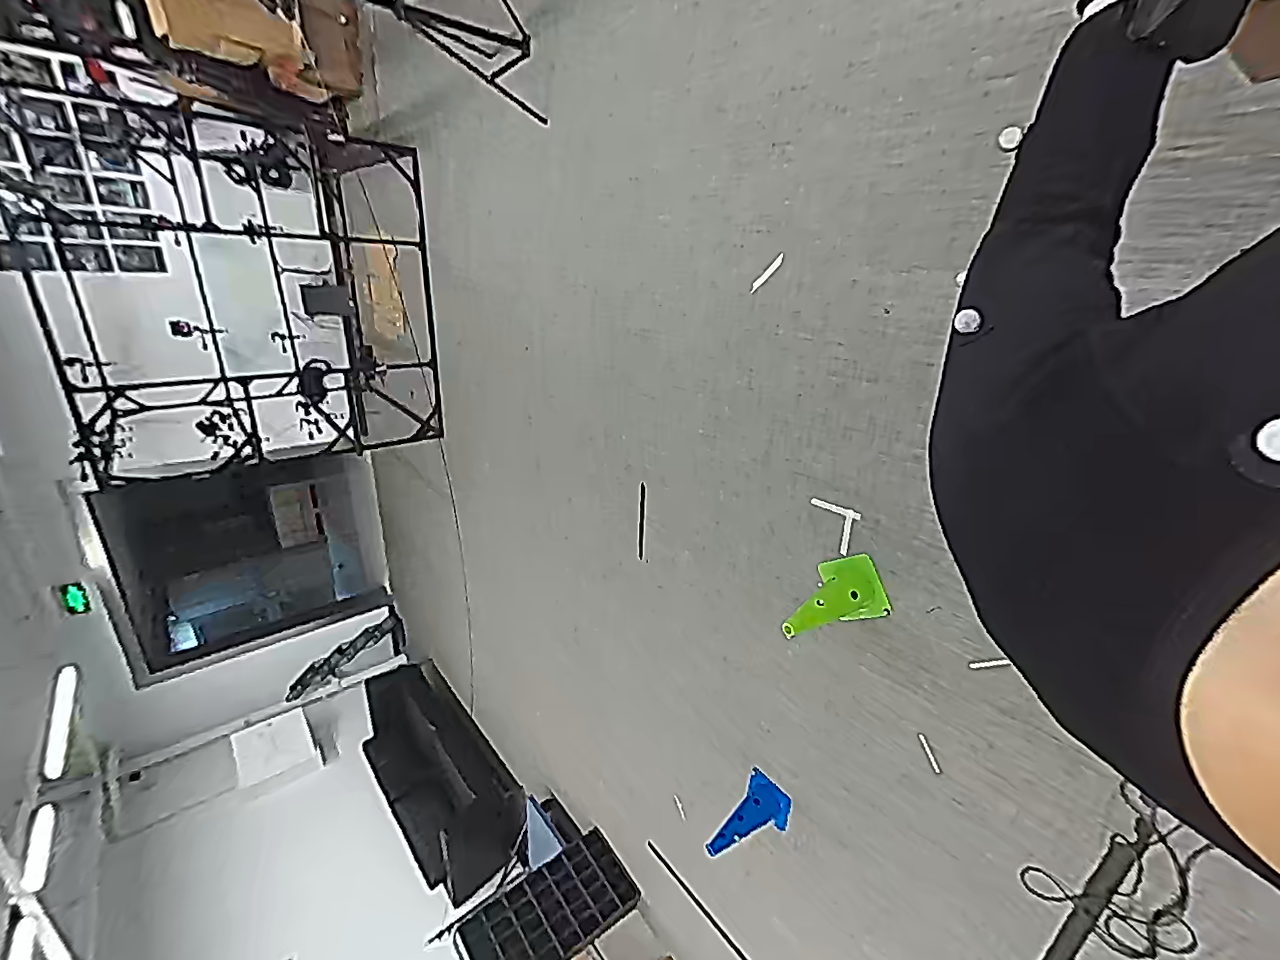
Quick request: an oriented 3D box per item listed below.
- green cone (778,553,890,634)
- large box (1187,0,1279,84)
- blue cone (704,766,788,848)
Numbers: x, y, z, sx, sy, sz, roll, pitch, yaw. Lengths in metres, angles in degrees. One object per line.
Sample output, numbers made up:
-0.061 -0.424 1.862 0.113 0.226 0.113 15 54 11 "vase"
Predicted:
0.548 0.374 1.630 0.202 0.368 0.200 -31 77 53 "green cone"
0.594 -0.457 0.257 0.408 0.320 0.320 18 120 48 "large box"
0.407 1.358 2.172 0.192 0.380 0.193 31 125 44 "blue cone"
